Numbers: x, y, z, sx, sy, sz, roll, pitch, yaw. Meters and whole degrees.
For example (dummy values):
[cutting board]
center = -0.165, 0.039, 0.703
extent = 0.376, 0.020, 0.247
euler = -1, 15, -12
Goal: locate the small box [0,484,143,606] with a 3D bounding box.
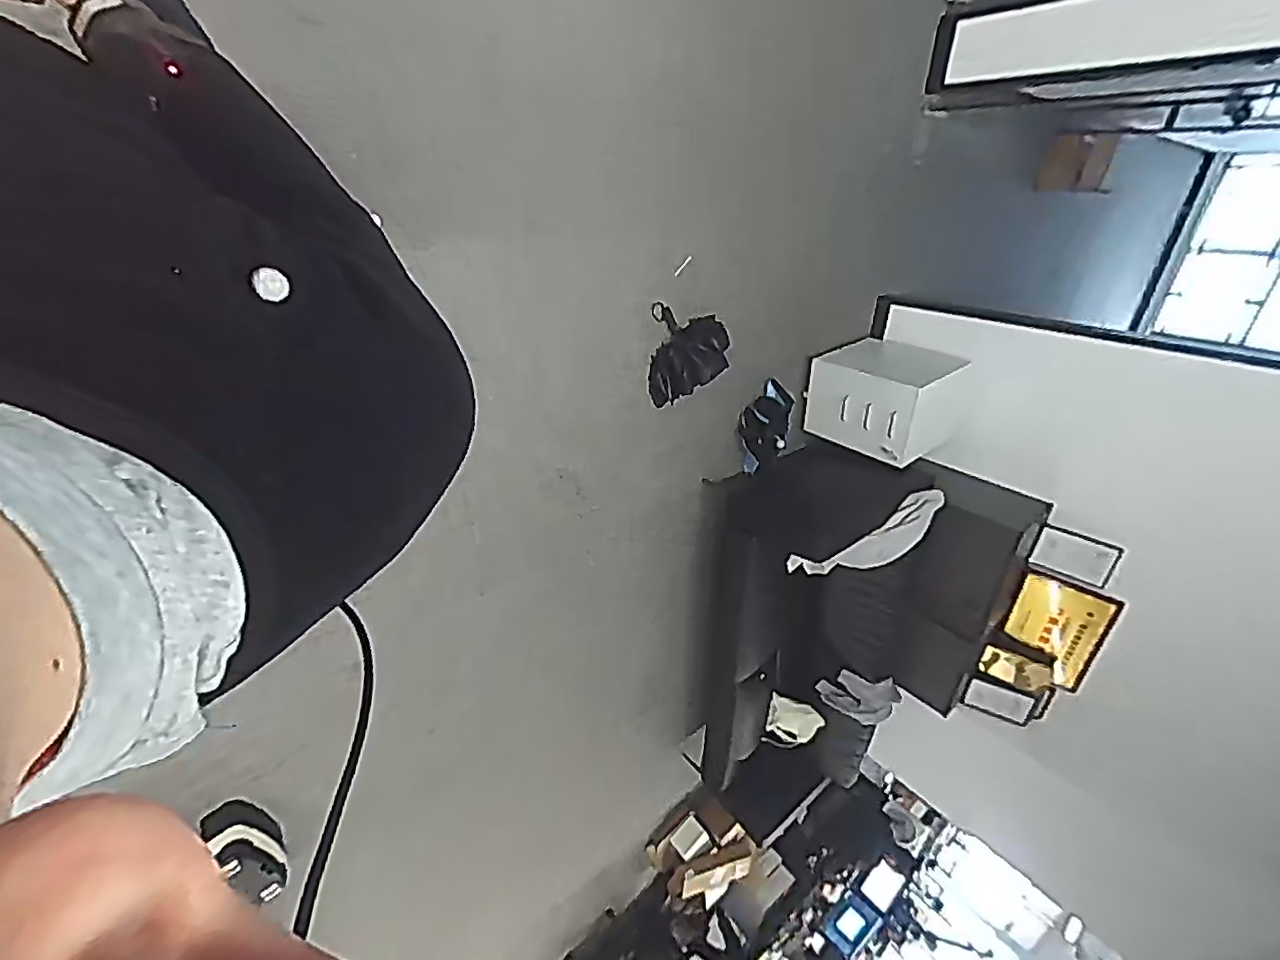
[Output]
[small box]
center = -1.197, 0.133, 1.139
extent = 0.168, 0.176, 0.179
euler = 34, 88, -47
